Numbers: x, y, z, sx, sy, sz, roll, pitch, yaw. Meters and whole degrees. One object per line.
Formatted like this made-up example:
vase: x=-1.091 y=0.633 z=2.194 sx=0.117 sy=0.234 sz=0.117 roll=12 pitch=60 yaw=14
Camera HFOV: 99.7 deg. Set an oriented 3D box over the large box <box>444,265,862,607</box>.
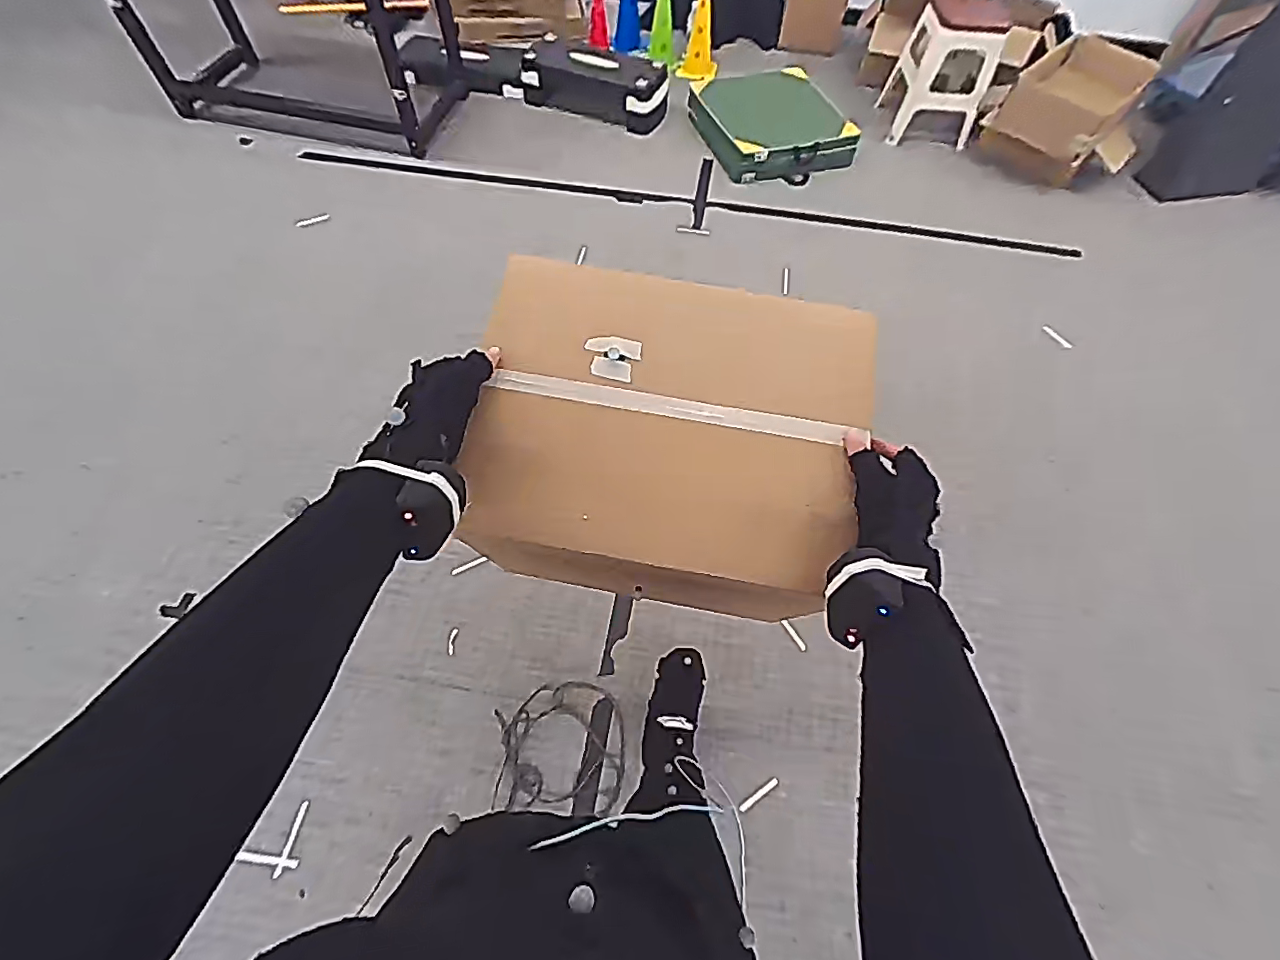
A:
large box: x=0.029 y=-0.028 z=0.705 sx=0.408 sy=0.320 sz=0.320 roll=10 pitch=71 yaw=3
